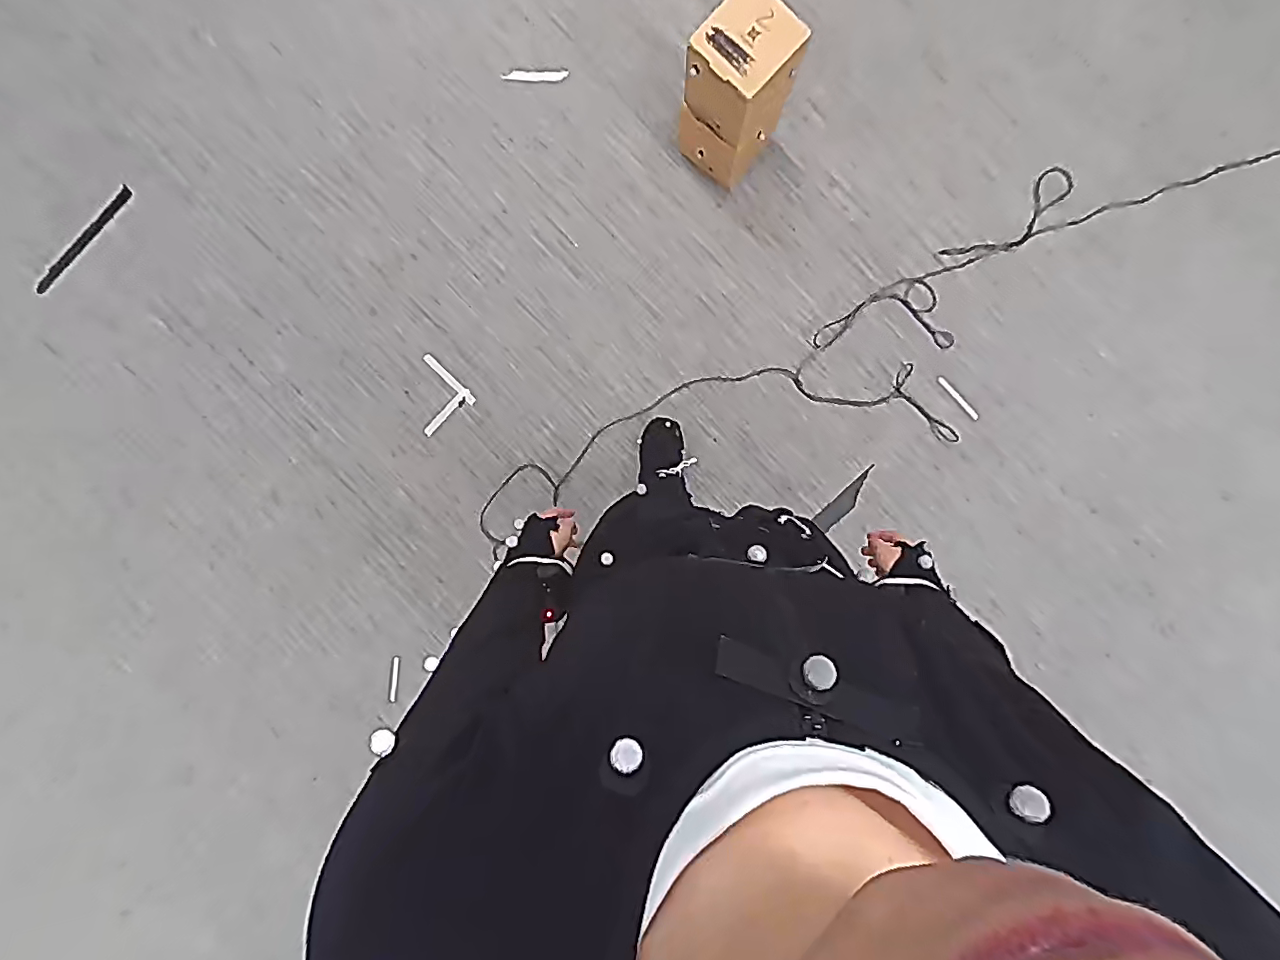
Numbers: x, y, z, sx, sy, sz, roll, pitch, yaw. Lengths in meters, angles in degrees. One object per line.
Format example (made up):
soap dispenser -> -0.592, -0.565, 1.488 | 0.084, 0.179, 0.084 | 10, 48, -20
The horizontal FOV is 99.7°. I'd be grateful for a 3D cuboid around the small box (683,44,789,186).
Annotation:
small box -> 0.212, -0.837, 1.259 | 0.168, 0.176, 0.179 | 39, 93, 0
